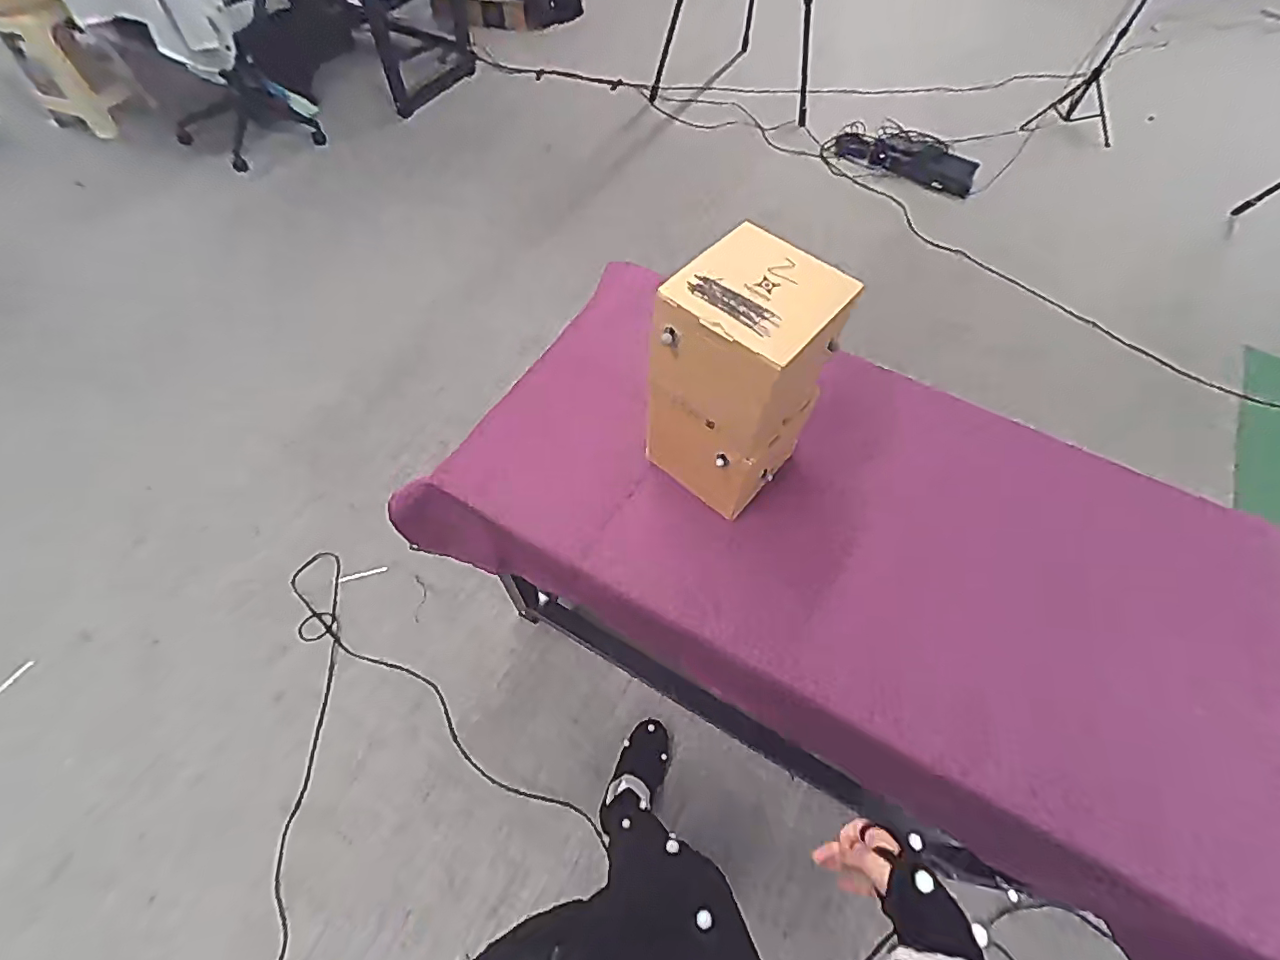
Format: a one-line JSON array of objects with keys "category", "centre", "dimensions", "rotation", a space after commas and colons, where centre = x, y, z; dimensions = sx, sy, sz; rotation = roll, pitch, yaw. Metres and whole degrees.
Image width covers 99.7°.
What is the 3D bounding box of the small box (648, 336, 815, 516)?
[{"category": "small box", "centre": [0.127, -0.077, 0.821], "dimensions": [0.179, 0.176, 0.168], "rotation": [37, 64, 18]}]
